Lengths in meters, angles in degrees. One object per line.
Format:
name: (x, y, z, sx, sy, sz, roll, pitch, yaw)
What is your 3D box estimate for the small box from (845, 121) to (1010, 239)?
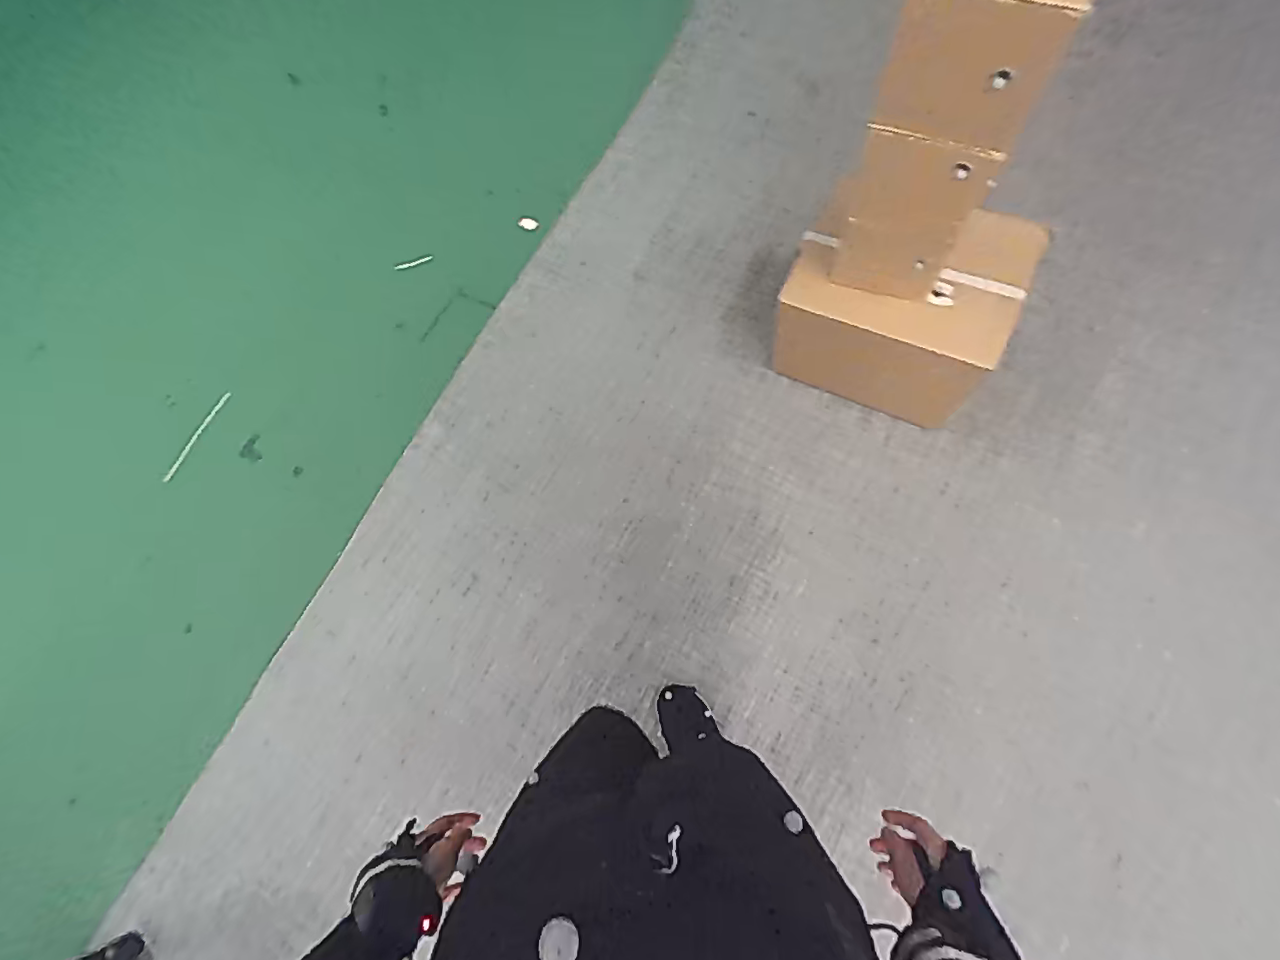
small box: (0.423, -0.488, 0.794, 0.179, 0.176, 0.168, 23, 80, 15)

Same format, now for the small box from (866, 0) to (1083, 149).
small box: (0.397, -0.534, 0.641, 0.179, 0.176, 0.168, 23, 79, 16)

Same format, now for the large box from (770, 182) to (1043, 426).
large box: (0.532, -0.364, 1.169, 0.408, 0.320, 0.320, 24, 82, 15)
